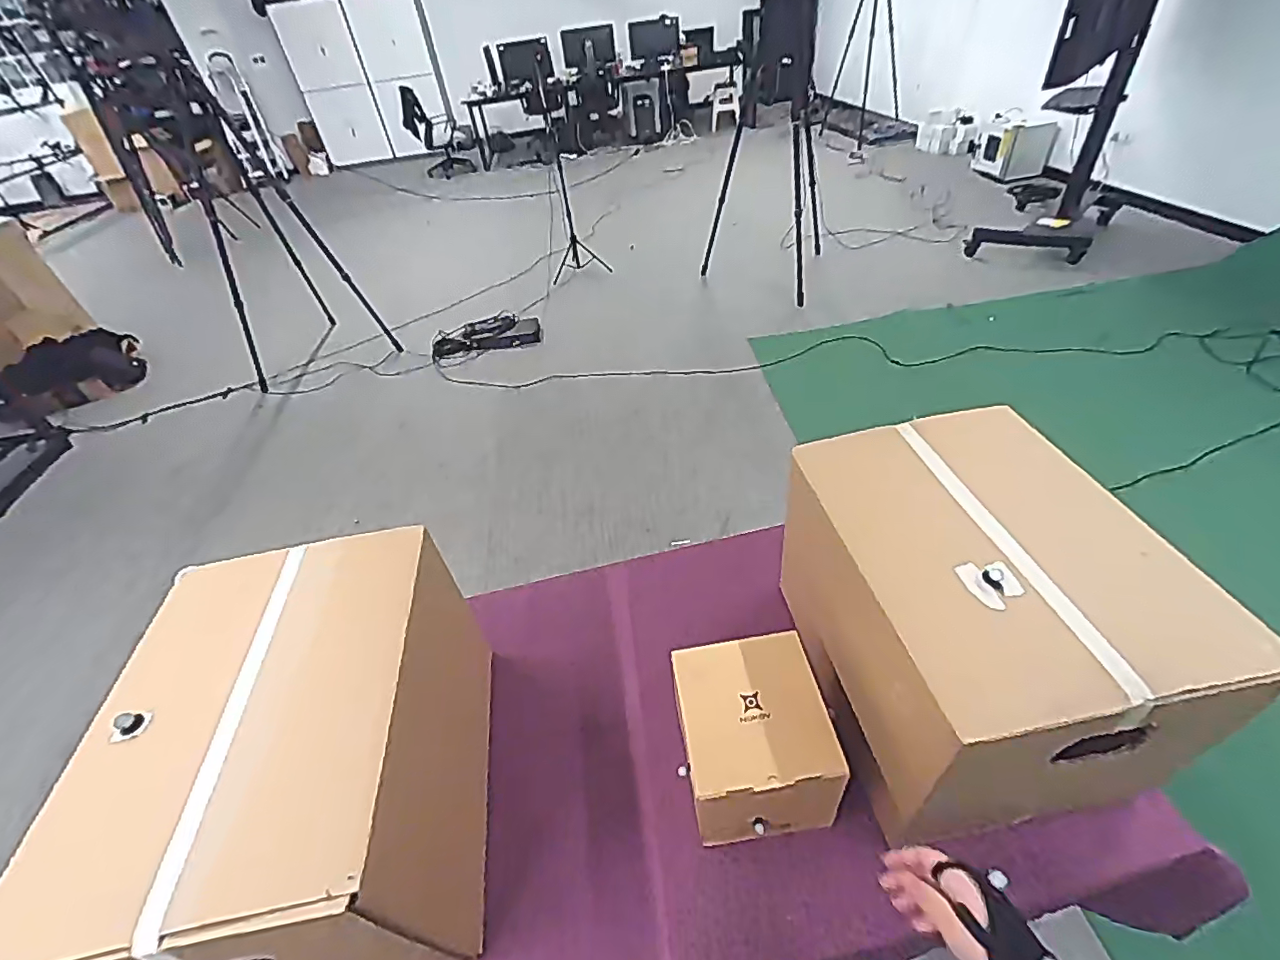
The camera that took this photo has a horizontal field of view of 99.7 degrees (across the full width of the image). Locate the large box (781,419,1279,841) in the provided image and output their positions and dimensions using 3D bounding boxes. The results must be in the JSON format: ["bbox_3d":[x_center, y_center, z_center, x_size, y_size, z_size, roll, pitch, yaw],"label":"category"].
[{"bbox_3d":[0.409,0.176,0.706,0.320,0.320,0.408,-10,43,-2],"label":"large box"}]
